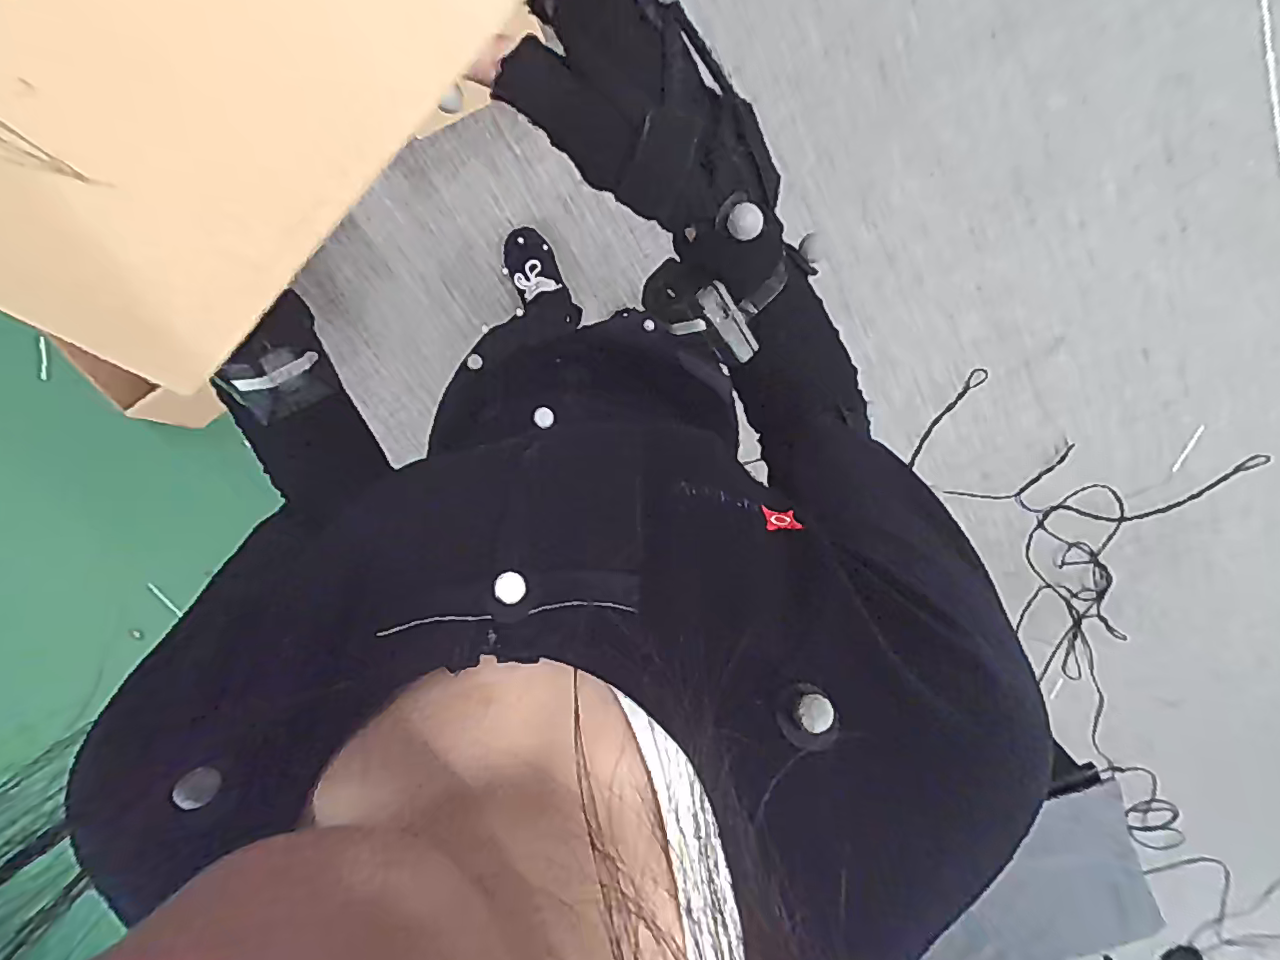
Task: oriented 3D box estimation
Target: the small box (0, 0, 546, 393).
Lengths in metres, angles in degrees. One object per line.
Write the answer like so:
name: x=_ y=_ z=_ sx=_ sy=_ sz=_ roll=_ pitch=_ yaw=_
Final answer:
small box: x=-0.165 y=-0.170 z=0.173 sx=0.179 sy=0.176 sz=0.168 roll=-42 pitch=135 yaw=10
